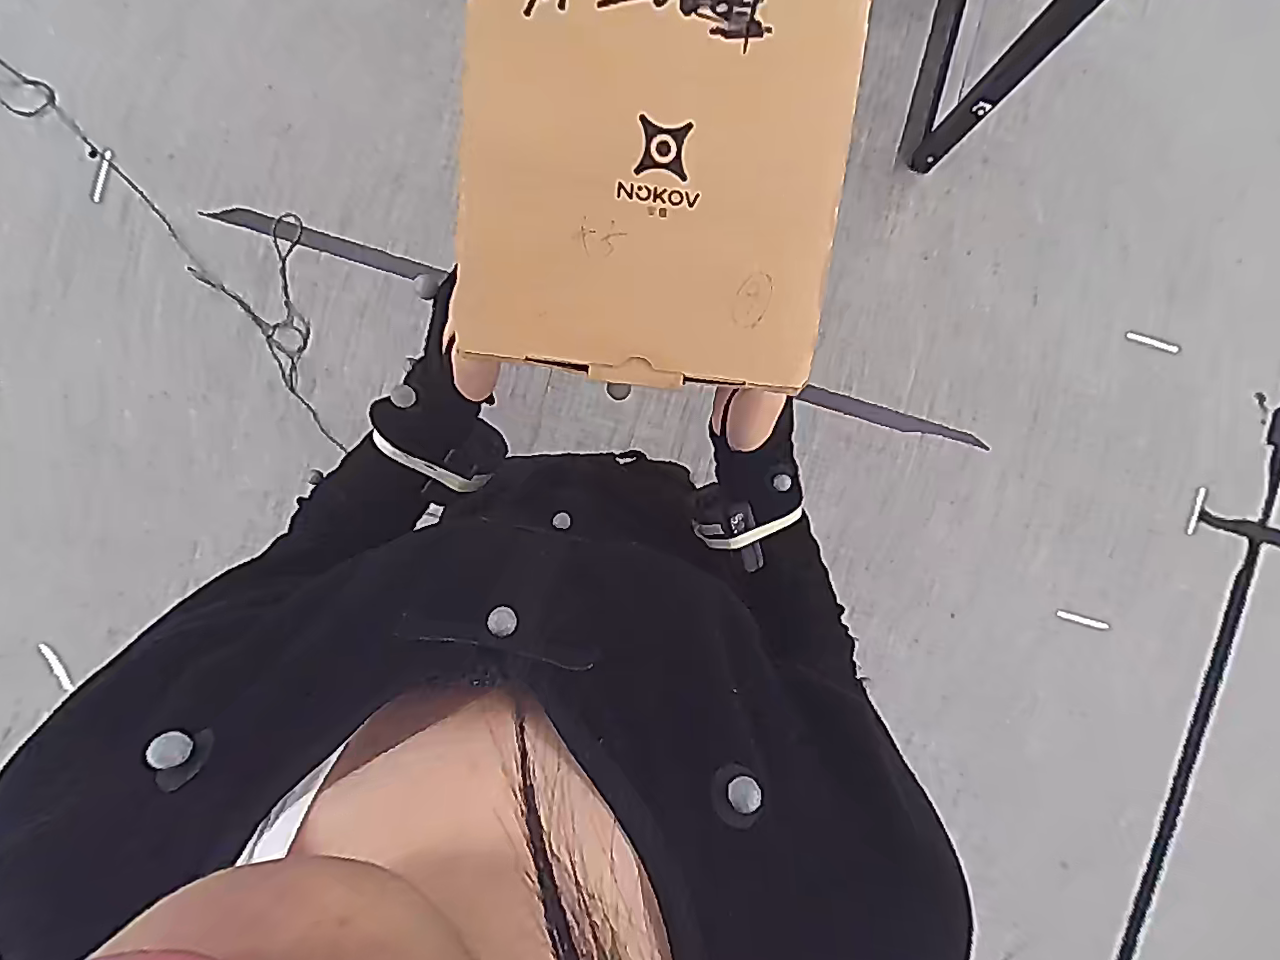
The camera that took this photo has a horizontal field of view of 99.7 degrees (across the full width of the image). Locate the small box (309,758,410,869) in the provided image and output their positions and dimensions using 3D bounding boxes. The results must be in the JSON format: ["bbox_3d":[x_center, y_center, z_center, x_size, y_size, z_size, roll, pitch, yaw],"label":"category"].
[{"bbox_3d":[-0.717,0.855,1.401,0.168,0.176,0.179,10,92,-2],"label":"small box"}]

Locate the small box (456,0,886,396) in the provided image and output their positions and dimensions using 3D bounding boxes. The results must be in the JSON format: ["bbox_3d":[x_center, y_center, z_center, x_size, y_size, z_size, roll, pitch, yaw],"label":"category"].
[{"bbox_3d":[0.002,-0.149,0.305,0.168,0.176,0.179,5,102,-8],"label":"small box"}]
